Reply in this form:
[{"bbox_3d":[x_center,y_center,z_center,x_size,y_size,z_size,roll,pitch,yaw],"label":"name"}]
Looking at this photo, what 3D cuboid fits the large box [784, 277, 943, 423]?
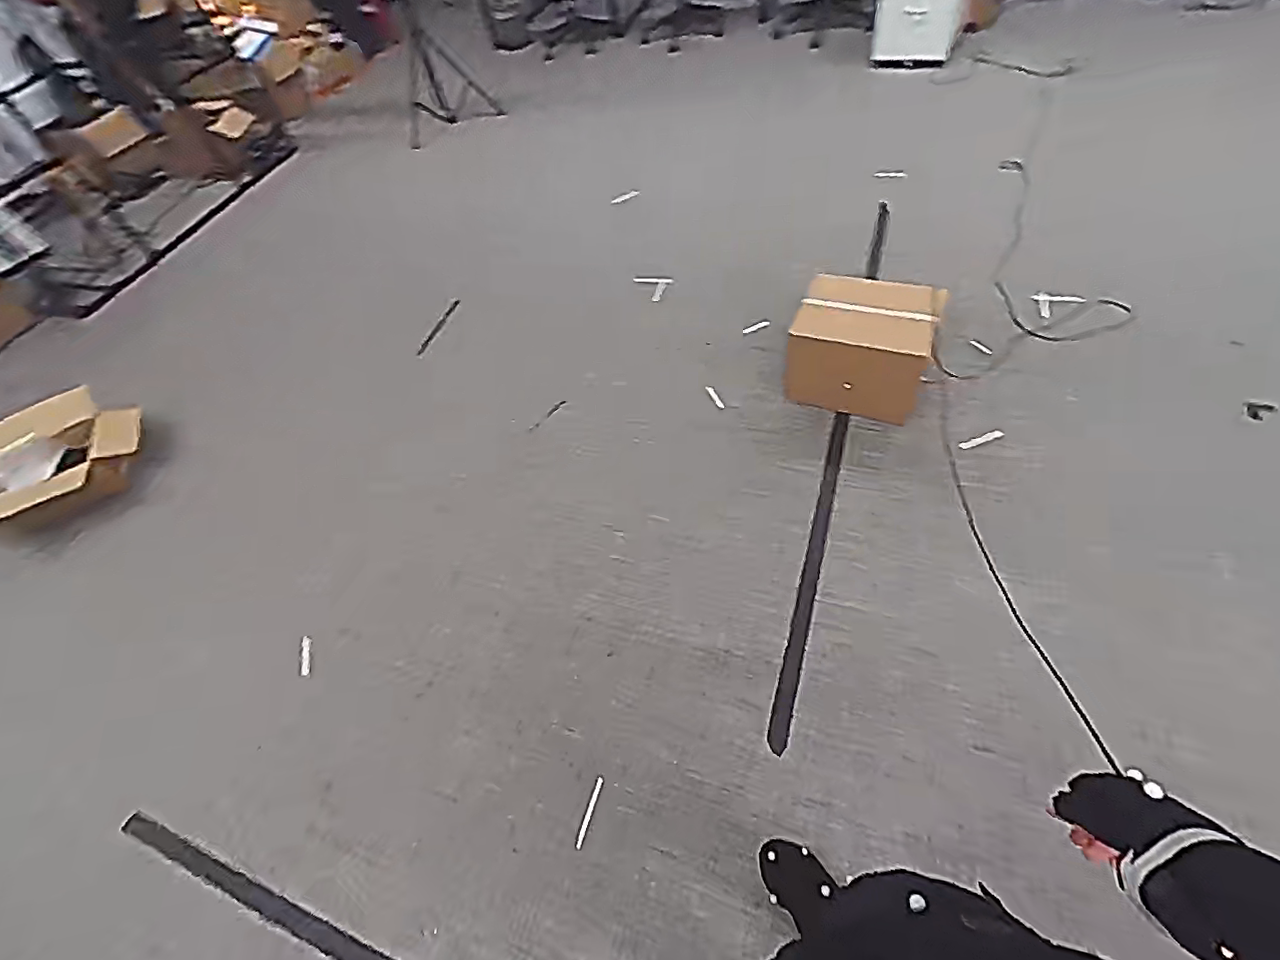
[{"bbox_3d":[0.723,-0.433,1.796,0.408,0.320,0.320,17,61,23],"label":"large box"}]
